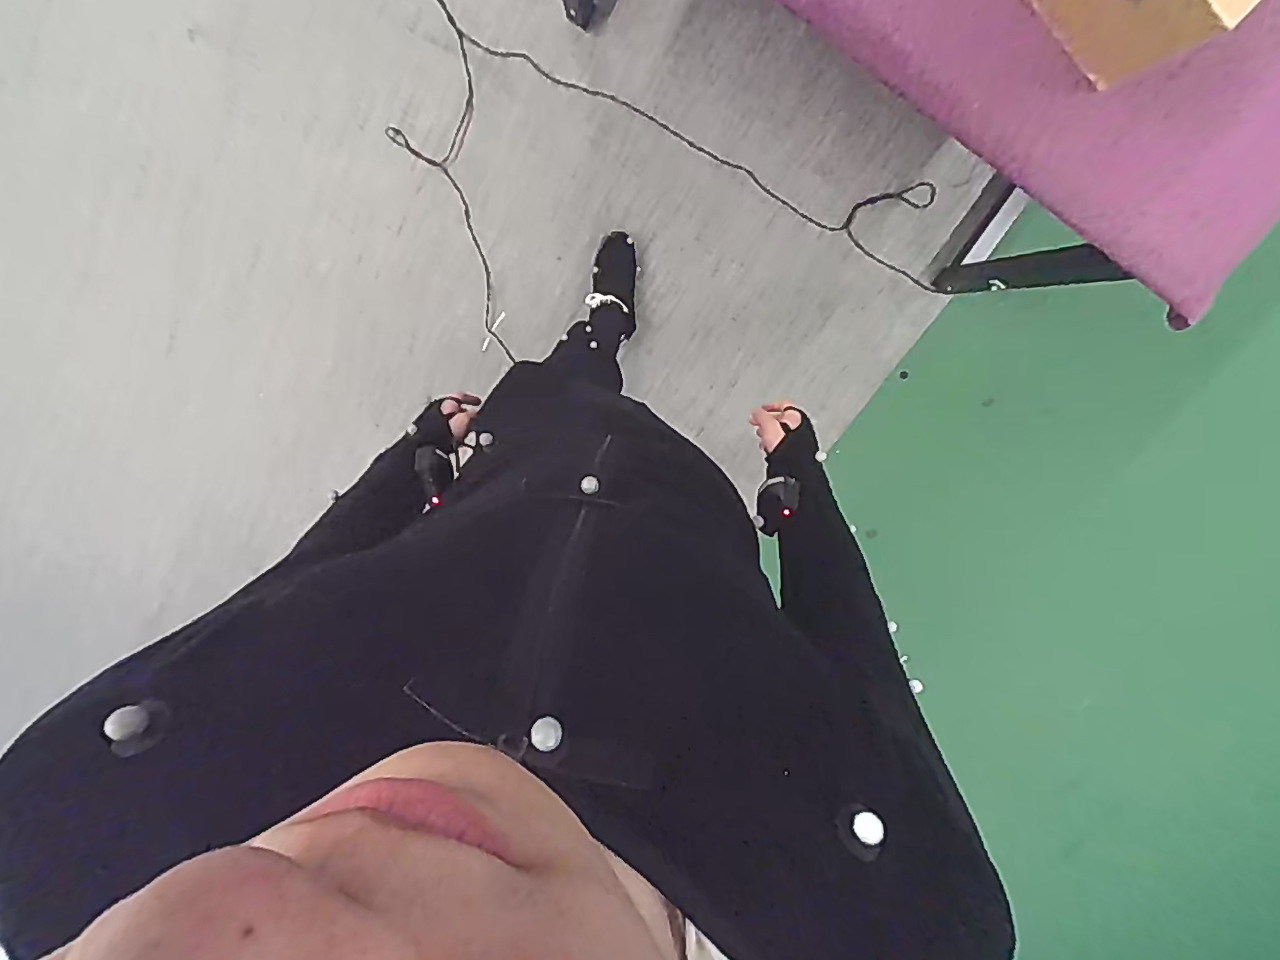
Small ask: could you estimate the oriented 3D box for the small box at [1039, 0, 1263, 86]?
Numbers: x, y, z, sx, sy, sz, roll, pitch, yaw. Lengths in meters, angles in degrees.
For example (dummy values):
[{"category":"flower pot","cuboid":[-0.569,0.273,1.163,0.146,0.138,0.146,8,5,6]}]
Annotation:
[{"category":"small box","cuboid":[0.587,-0.586,0.588,0.179,0.176,0.168,41,104,-11]}]
